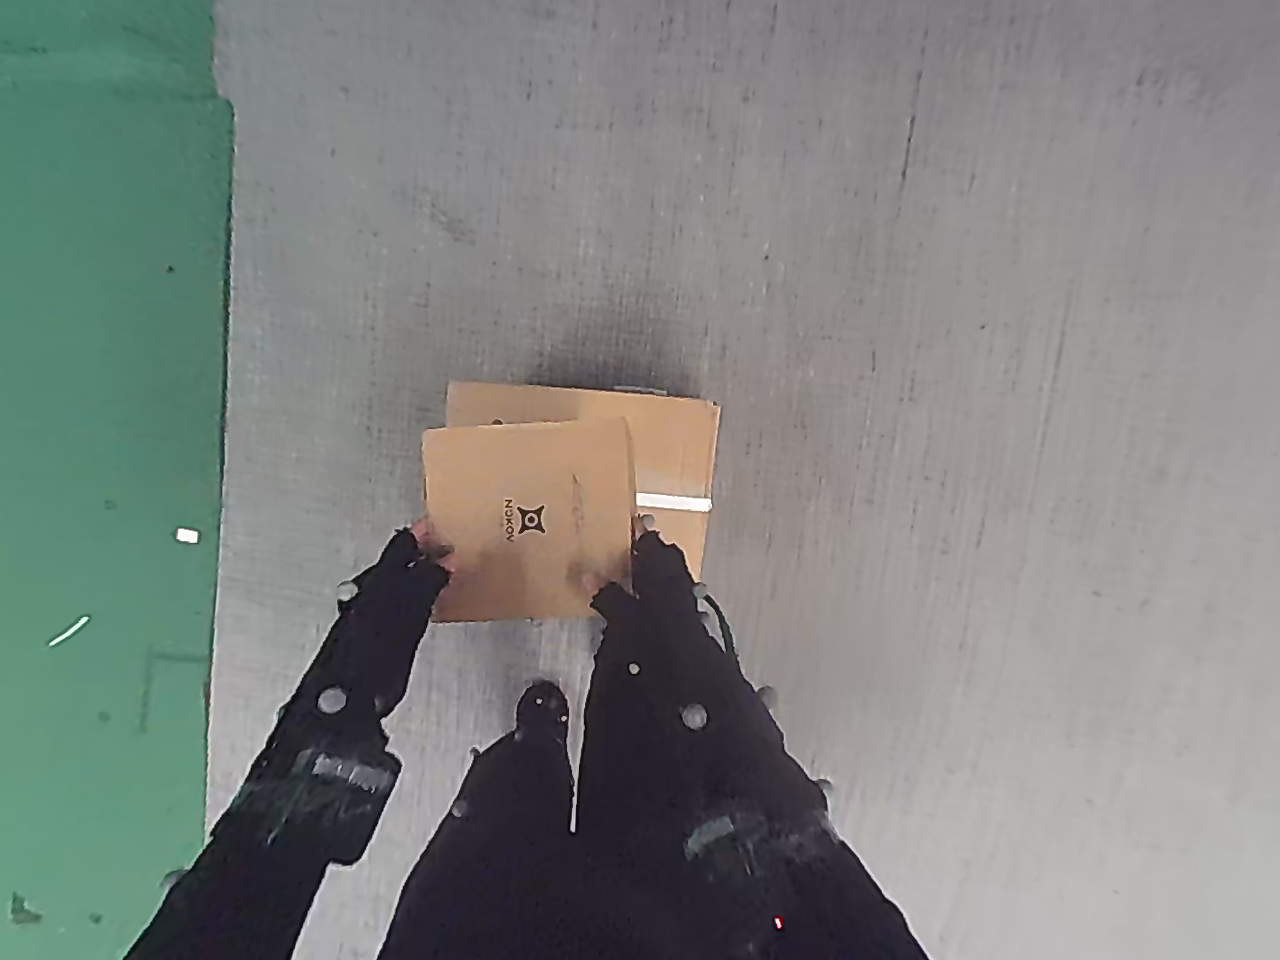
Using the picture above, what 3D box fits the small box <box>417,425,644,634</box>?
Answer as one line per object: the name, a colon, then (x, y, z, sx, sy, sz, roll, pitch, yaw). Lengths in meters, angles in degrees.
small box: (-0.091, 0.043, 0.523, 0.179, 0.176, 0.168, -5, 89, 2)
